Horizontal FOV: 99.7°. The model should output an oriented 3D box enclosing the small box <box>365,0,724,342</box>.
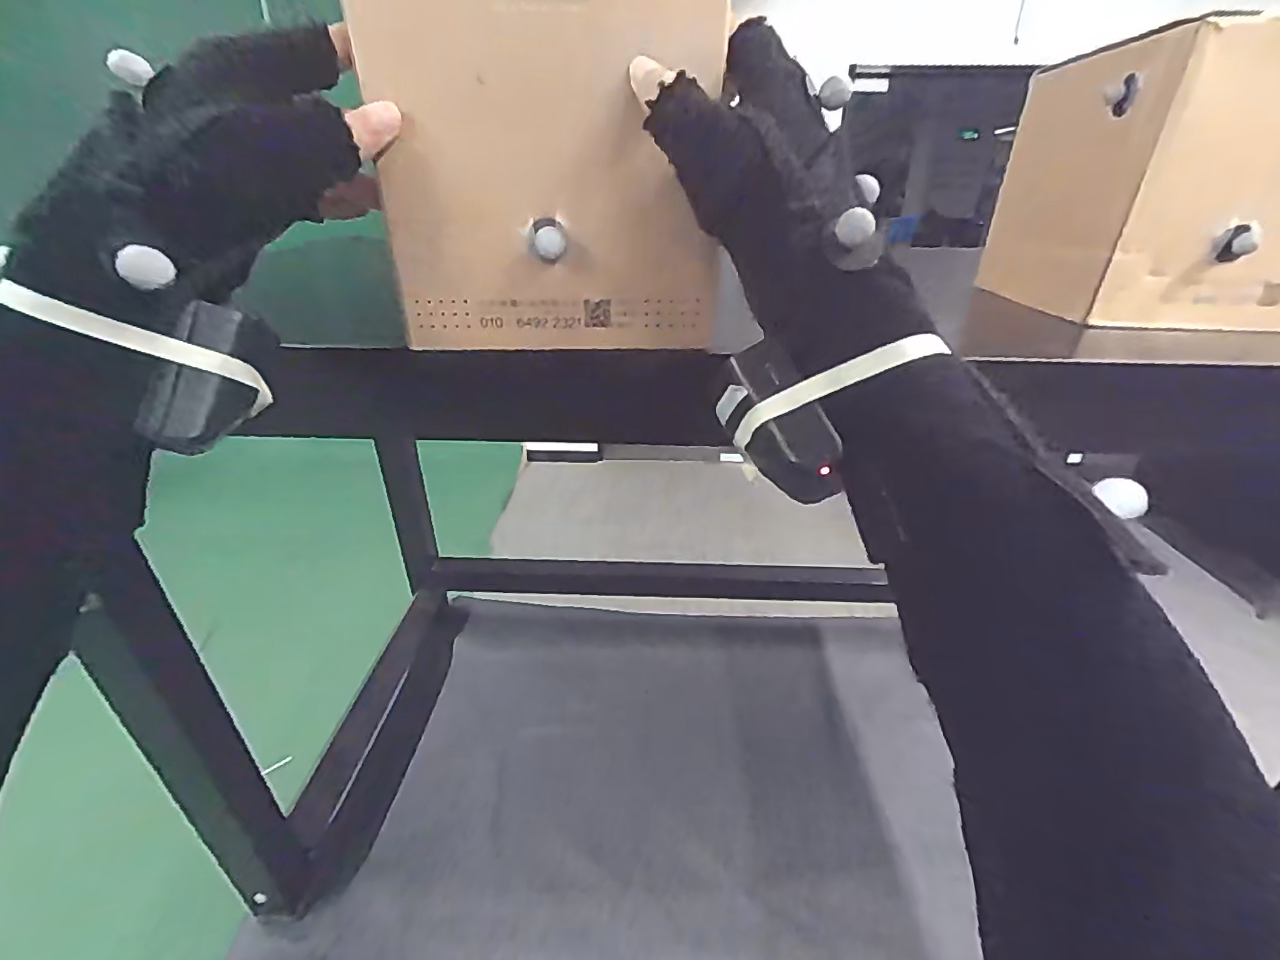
[{"bbox_3d":[-0.047,-0.192,0.343,0.168,0.176,0.179,-1,28,-2],"label":"small box"}]
